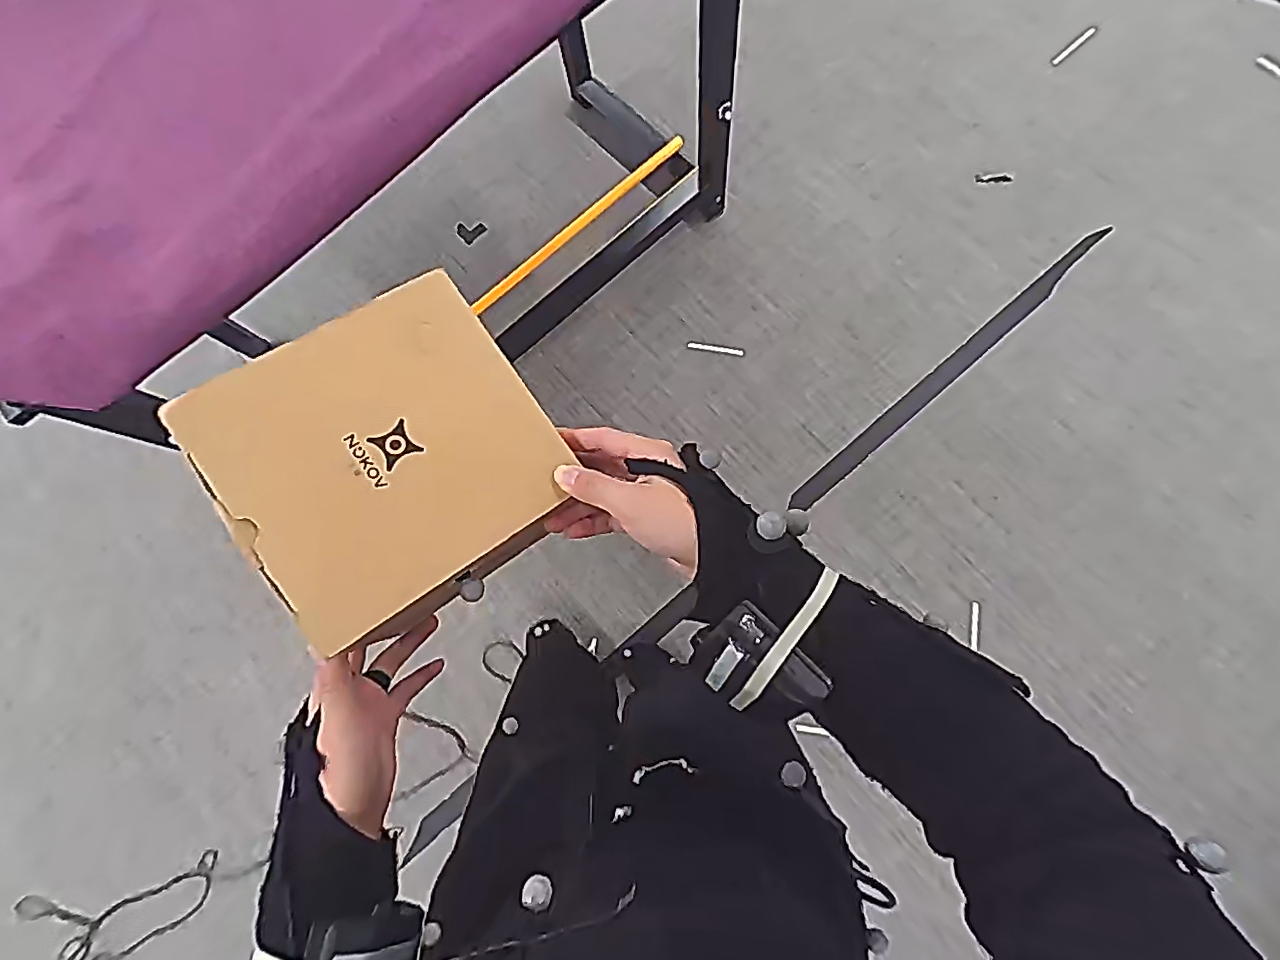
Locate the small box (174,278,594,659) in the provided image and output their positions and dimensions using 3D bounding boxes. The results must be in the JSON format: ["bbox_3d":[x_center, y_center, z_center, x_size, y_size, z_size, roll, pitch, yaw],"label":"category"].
[{"bbox_3d":[-0.157,-0.002,0.390,0.179,0.176,0.168,-34,87,-15],"label":"small box"}]
